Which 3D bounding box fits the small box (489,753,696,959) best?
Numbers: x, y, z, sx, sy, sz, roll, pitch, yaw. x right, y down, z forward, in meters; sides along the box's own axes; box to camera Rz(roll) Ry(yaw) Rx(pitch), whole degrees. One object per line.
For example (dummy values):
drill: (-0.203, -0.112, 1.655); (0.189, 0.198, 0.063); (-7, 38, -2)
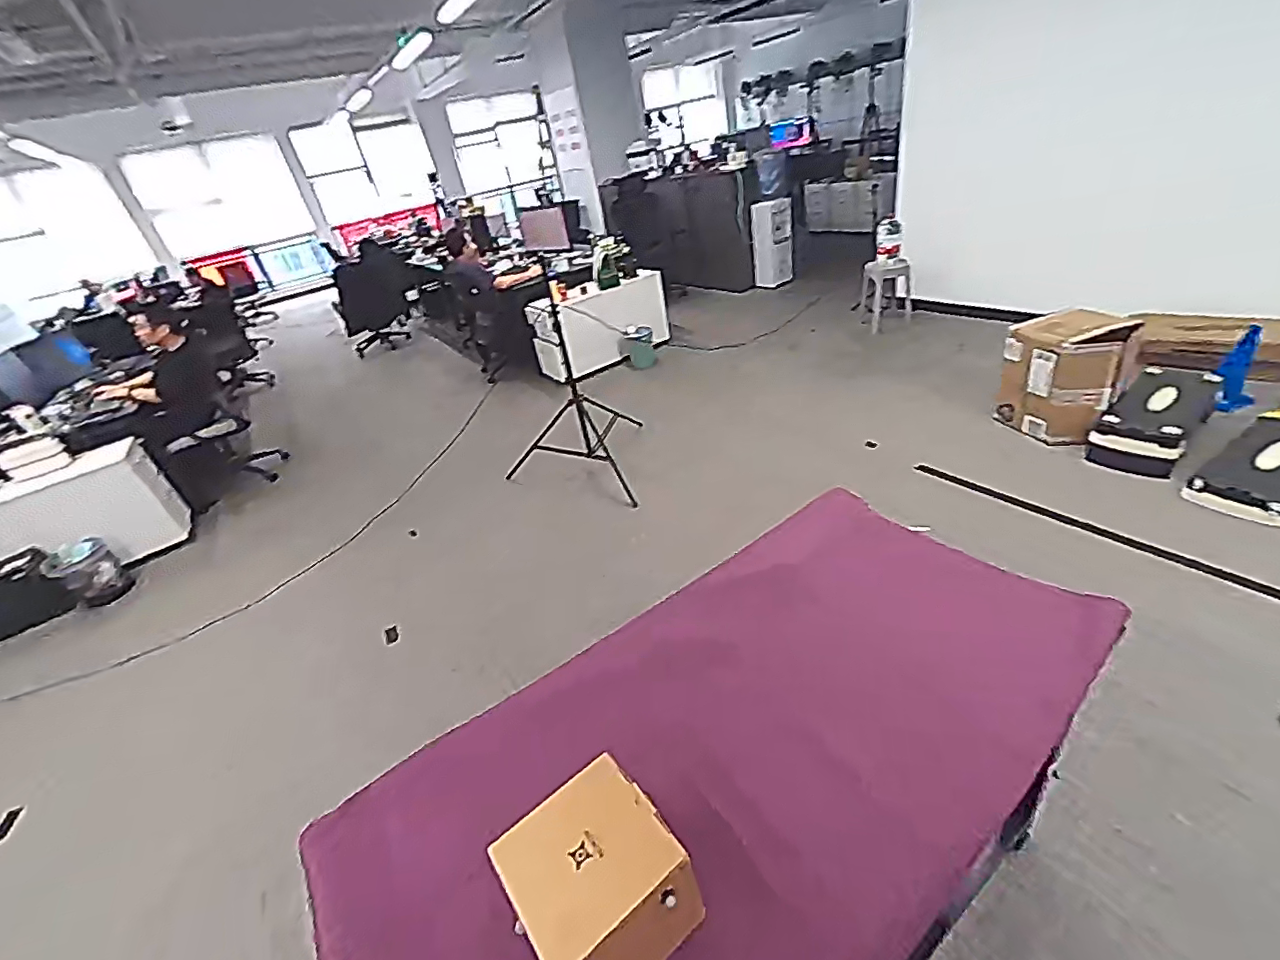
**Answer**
small box: (-0.050, 0.490, 0.657); (0.179, 0.176, 0.168); (-30, 36, -27)
